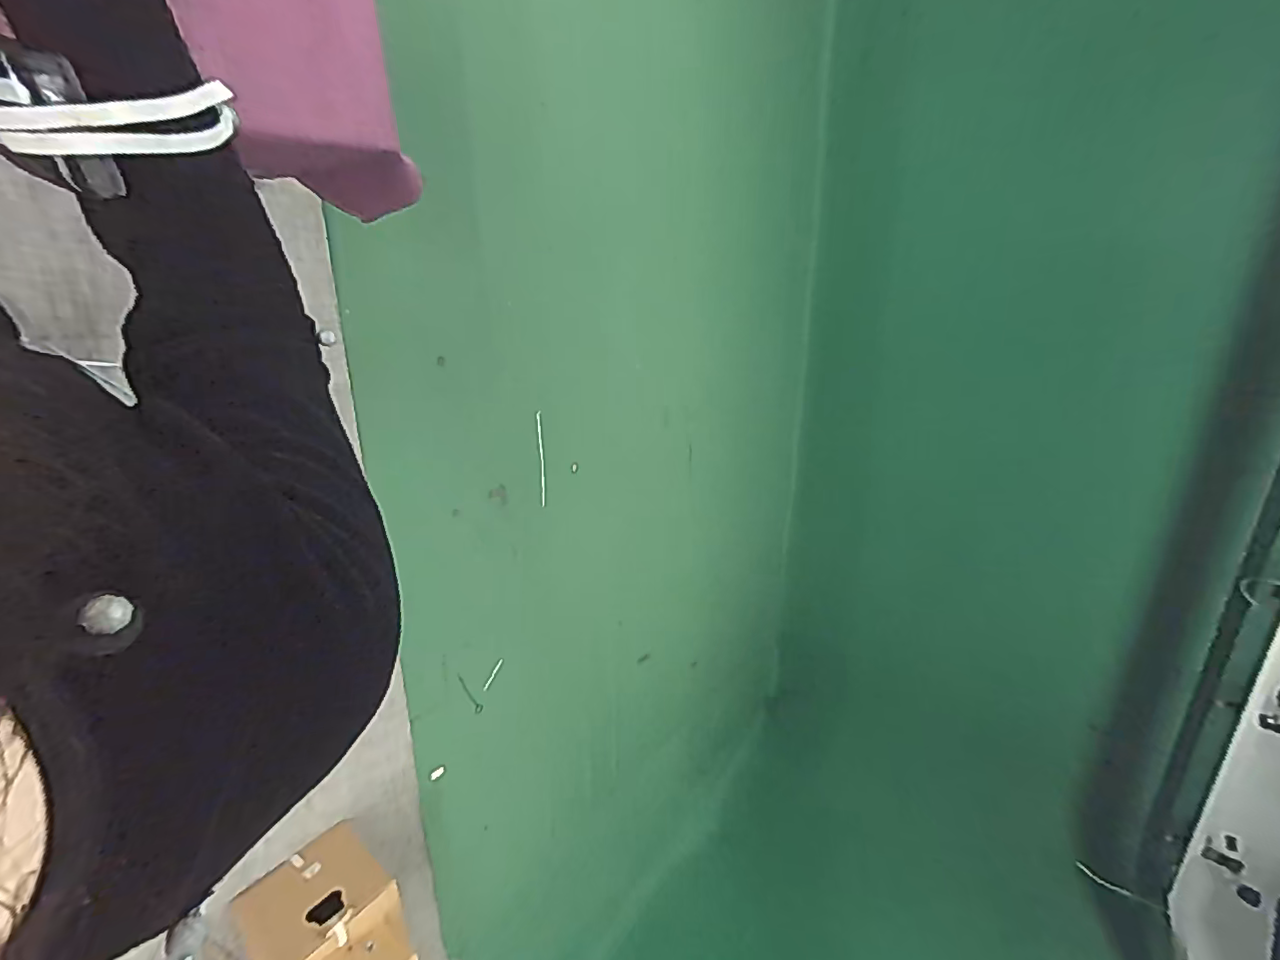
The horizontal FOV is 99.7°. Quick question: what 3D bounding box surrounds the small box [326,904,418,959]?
[{"bbox_3d":[-0.710,1.290,1.429,0.168,0.176,0.179,-9,108,-53],"label":"small box"}]
